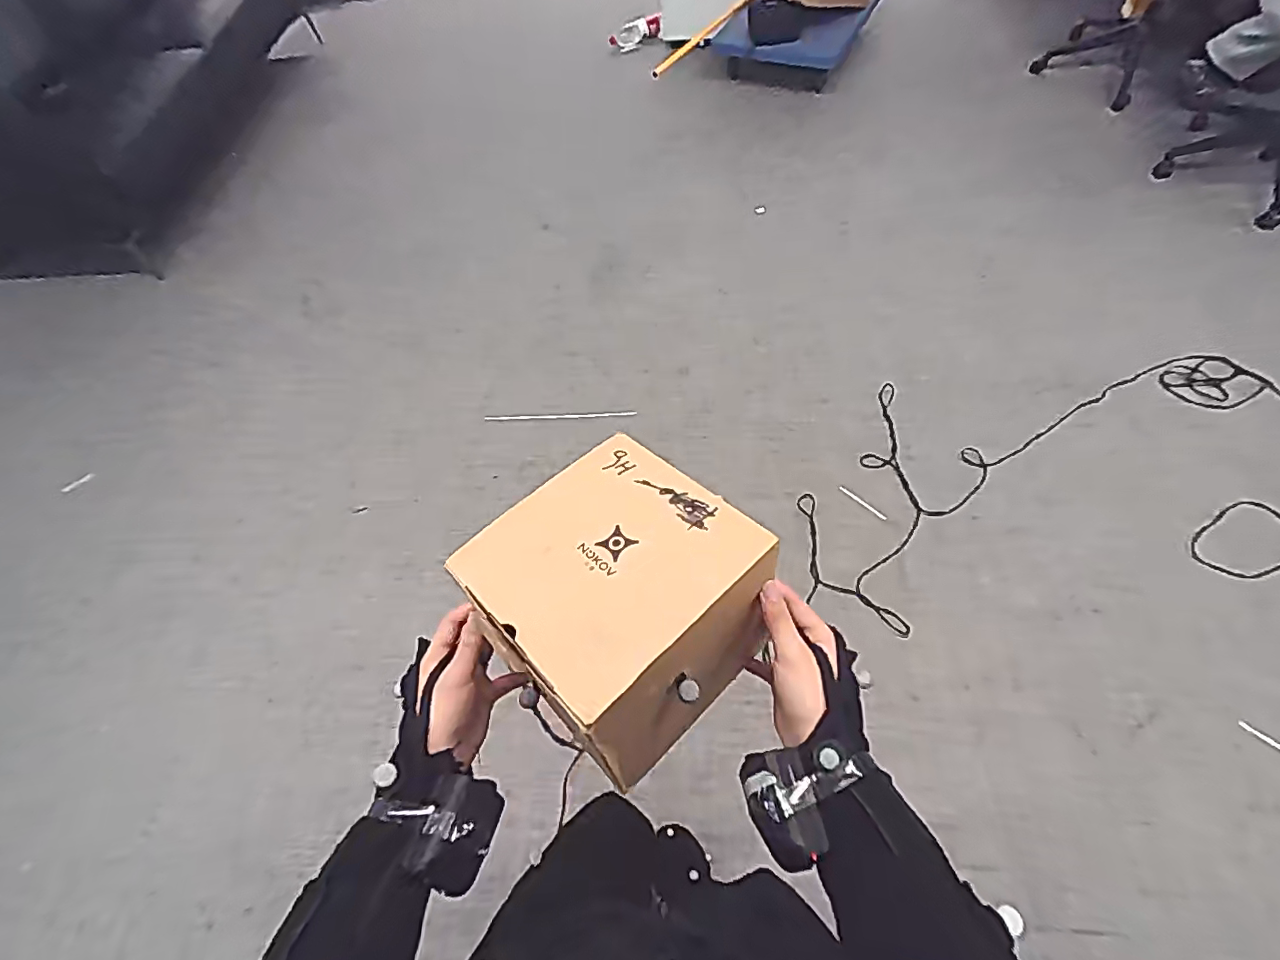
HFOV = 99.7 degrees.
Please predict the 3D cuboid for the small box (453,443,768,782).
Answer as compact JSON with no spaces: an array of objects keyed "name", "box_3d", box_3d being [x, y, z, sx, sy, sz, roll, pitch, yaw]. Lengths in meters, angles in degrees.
[{"name":"small box","box_3d":[-0.013,0.109,0.446,0.179,0.176,0.168,-38,54,-23]}]
